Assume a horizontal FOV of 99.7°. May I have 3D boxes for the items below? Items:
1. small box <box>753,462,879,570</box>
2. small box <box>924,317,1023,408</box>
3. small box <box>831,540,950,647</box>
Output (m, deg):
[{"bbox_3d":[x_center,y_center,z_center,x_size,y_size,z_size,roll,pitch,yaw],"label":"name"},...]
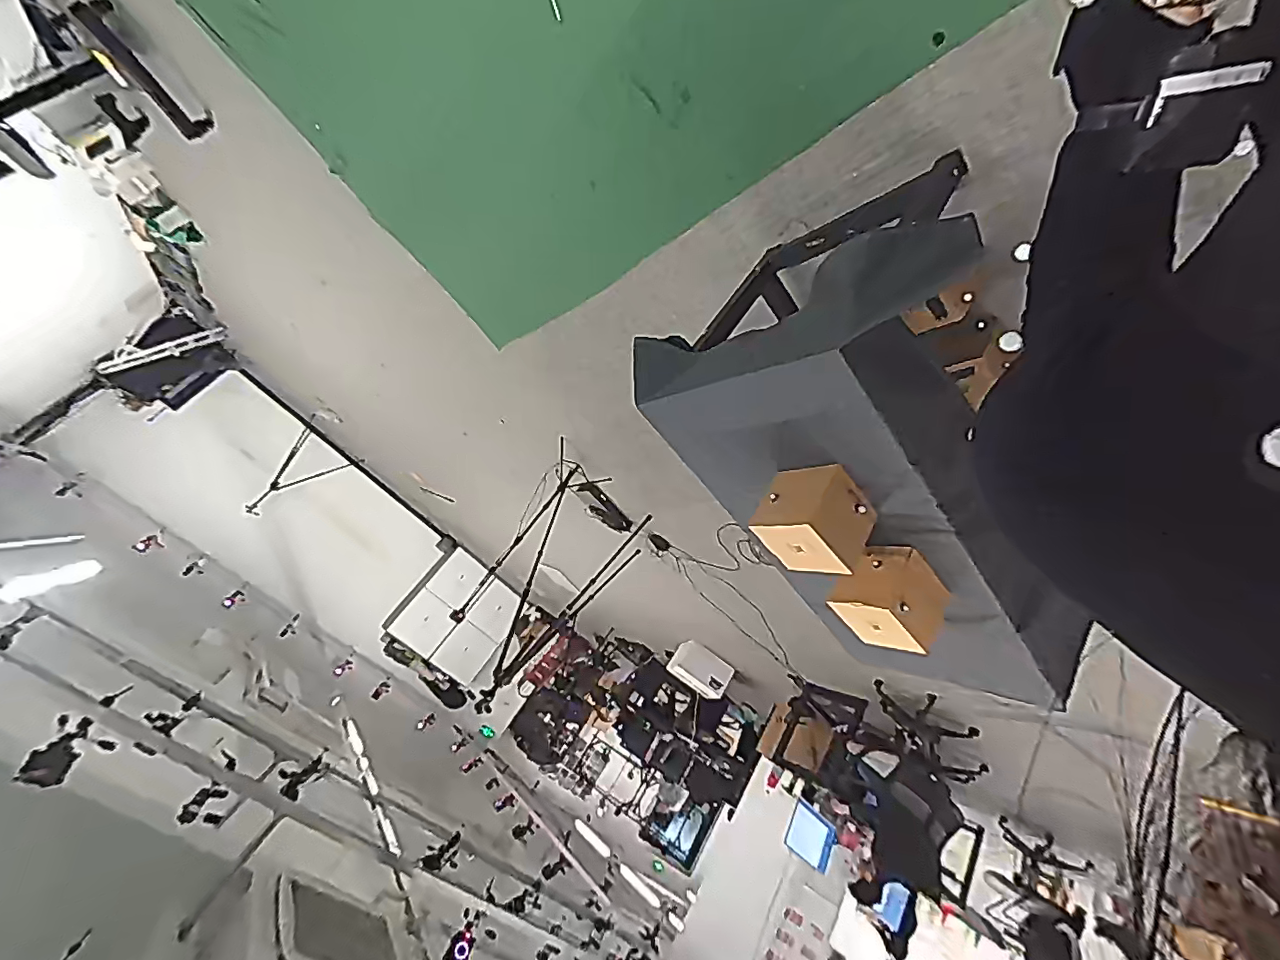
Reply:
[{"bbox_3d":[0.391,0.078,1.195,0.168,0.176,0.179,44,155,-21],"label":"small box"},{"bbox_3d":[0.937,-0.332,1.517,0.179,0.176,0.168,44,155,-22],"label":"small box"},{"bbox_3d":[0.592,0.261,1.272,0.179,0.176,0.168,44,155,-19],"label":"small box"}]
